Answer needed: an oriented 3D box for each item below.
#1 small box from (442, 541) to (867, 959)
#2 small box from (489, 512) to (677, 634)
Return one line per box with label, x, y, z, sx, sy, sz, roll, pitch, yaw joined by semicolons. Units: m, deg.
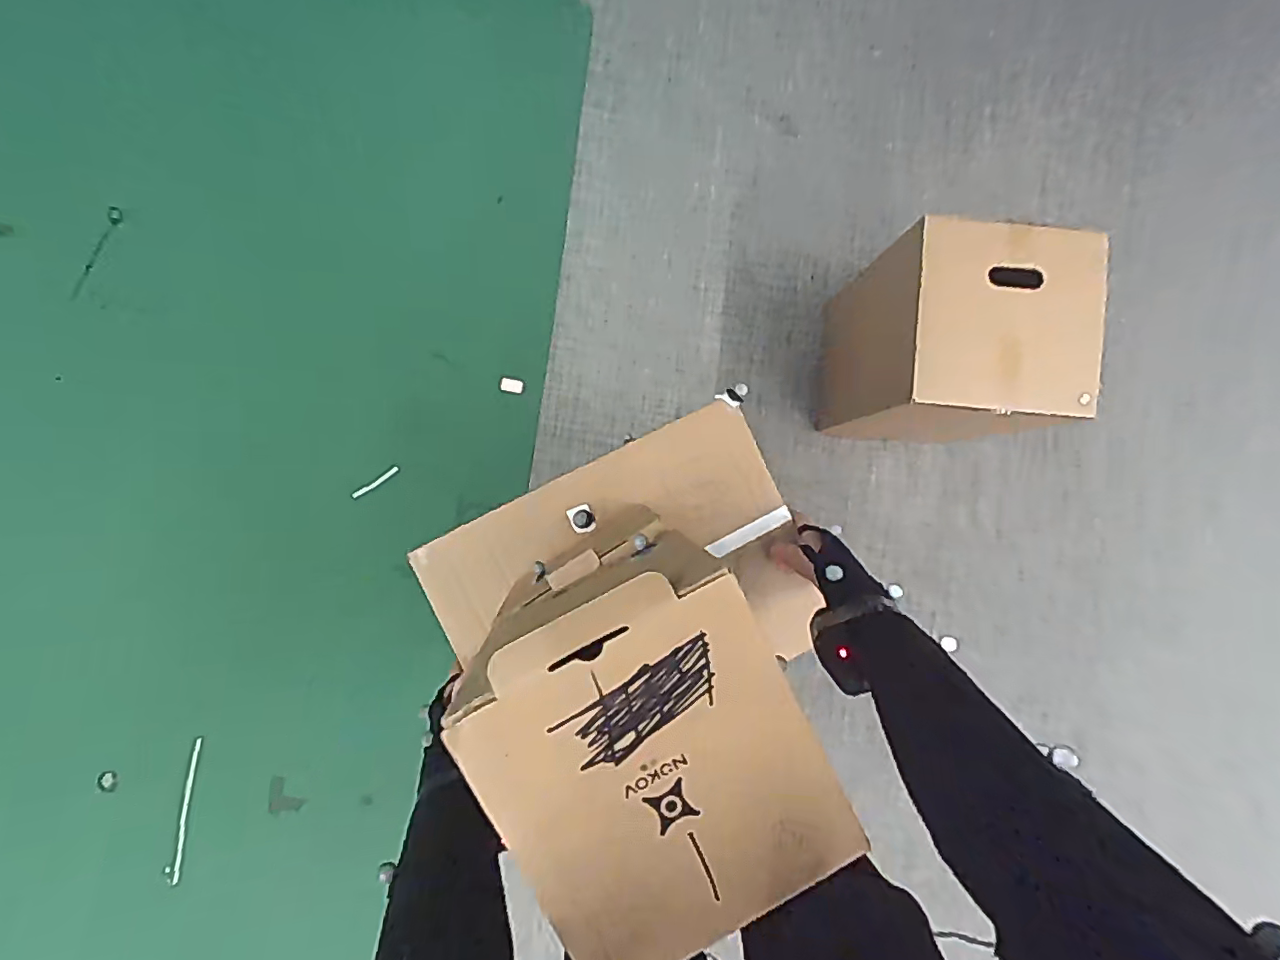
small box;0.003;0.152;0.353;0.168;0.176;0.179;-28;95;-4
small box;-0.017;0.142;0.515;0.168;0.176;0.179;-32;94;-4
